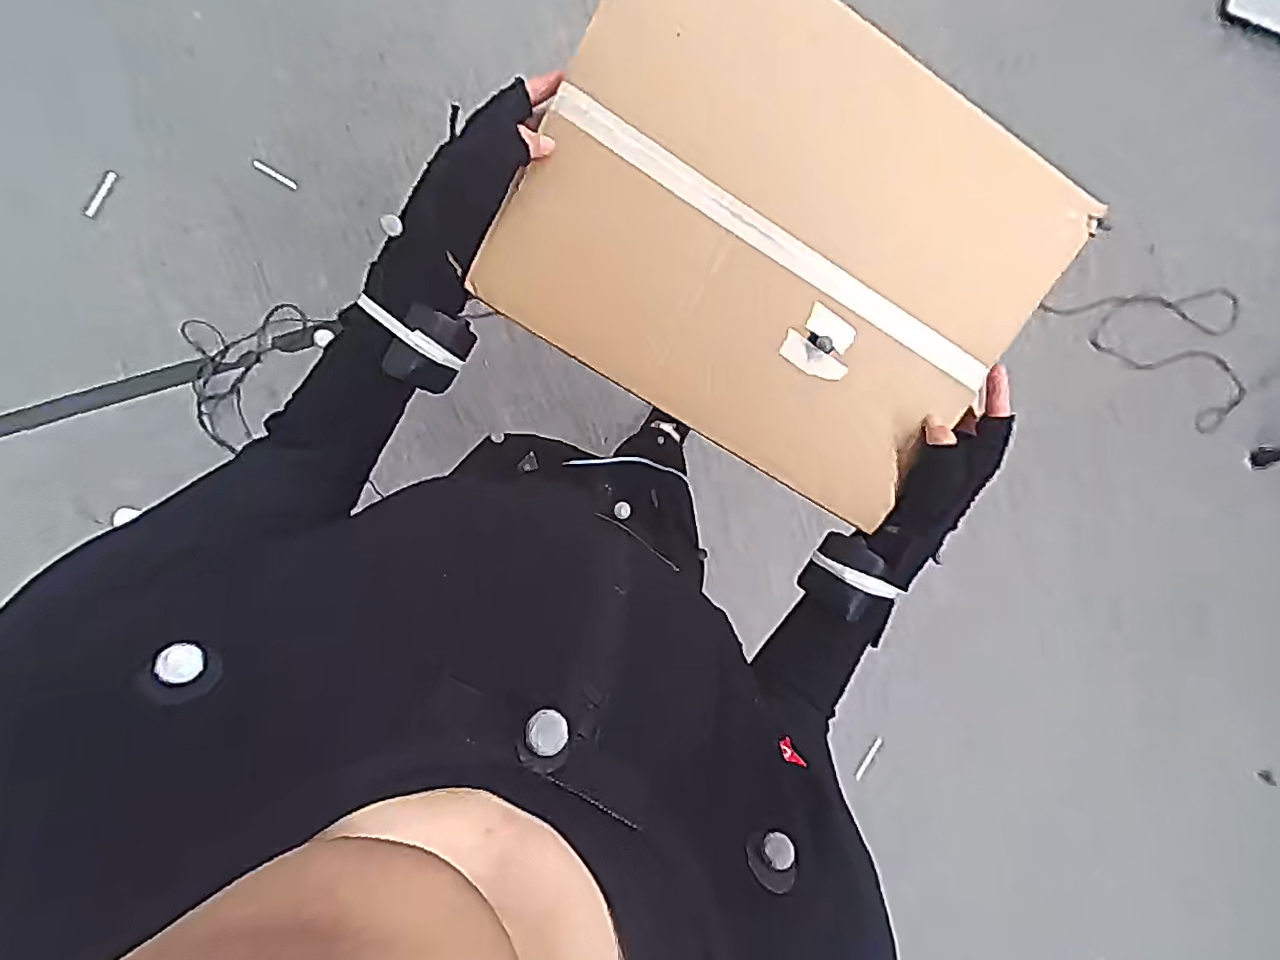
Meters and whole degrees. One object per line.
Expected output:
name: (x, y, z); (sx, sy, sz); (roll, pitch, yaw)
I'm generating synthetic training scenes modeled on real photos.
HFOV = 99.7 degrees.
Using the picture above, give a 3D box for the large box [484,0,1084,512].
large box: (0.110, -0.227, 0.583); (0.408, 0.320, 0.320); (30, 102, -9)
